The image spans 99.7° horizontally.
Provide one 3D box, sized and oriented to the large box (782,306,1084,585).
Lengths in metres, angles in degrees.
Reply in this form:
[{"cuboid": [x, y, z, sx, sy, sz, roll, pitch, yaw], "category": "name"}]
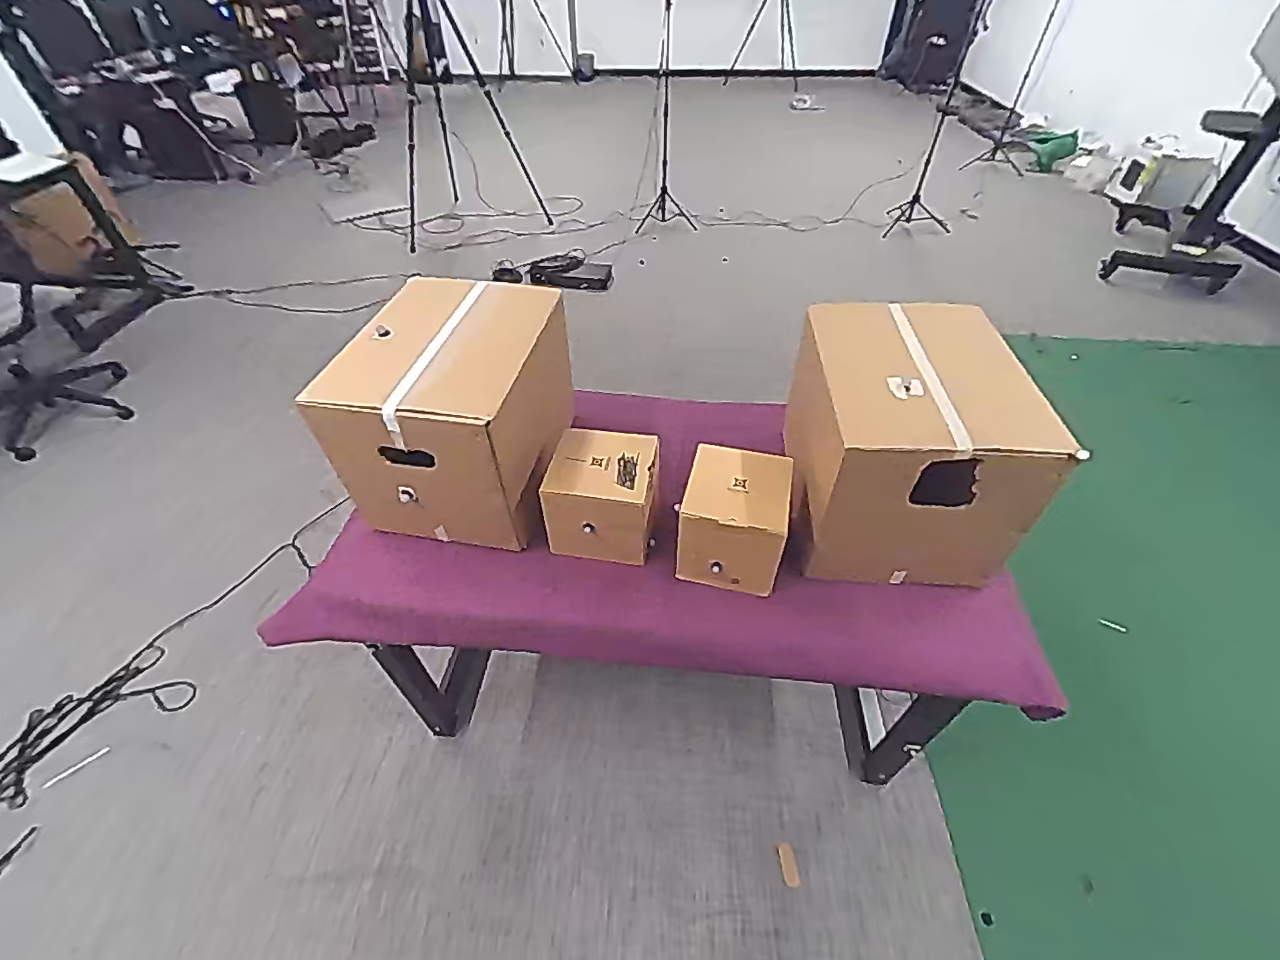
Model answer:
[{"cuboid": [0.452, -0.070, 0.966, 0.320, 0.320, 0.408, 2, 46, 5], "category": "large box"}]
